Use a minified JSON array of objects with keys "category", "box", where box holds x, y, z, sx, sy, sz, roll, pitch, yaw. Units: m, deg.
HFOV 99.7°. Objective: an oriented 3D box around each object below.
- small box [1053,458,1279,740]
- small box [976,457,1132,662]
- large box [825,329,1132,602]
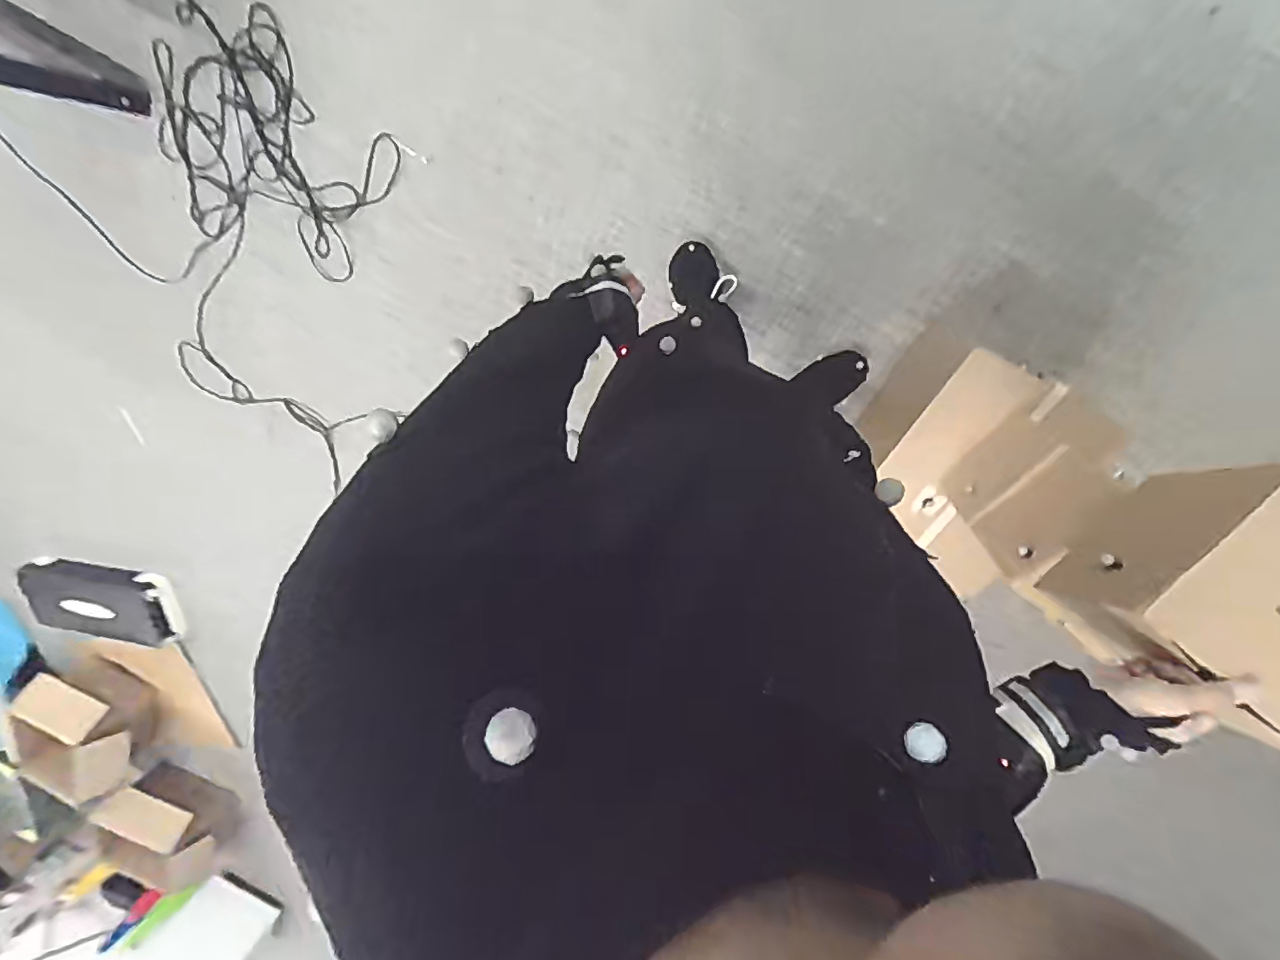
[{"category":"small box","box":[0.534,0.103,0.495,0.168,0.176,0.179,44,94,10]},{"category":"small box","box":[0.601,0.097,0.727,0.168,0.176,0.179,39,117,-4]},{"category":"large box","box":[0.635,-0.044,1.111,0.320,0.320,0.408,30,117,1]}]
